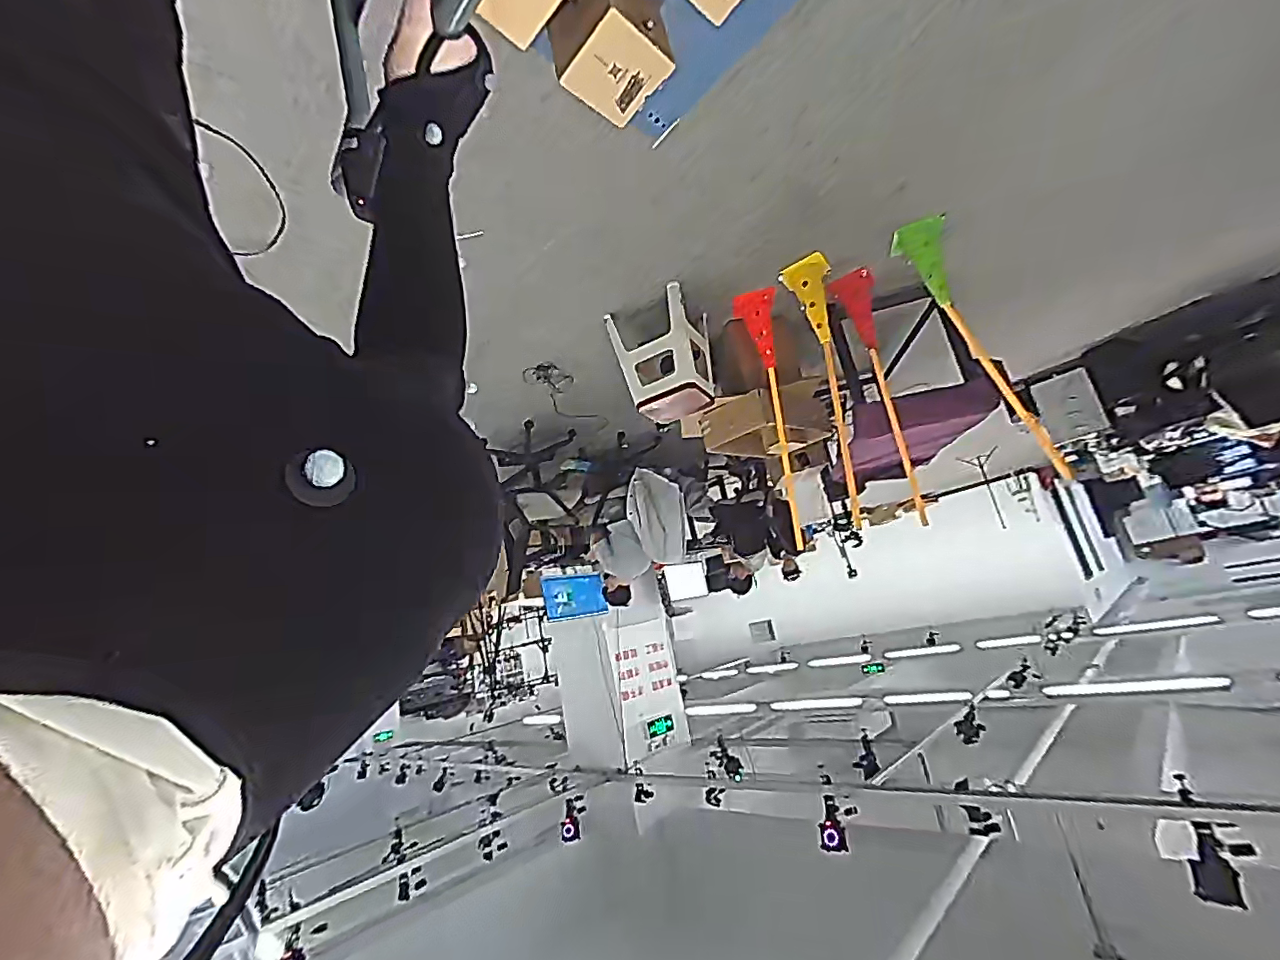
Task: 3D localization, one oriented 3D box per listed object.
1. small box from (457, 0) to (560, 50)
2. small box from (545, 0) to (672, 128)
[{"bbox_3d":[-0.228,-0.884,0.886,0.168,0.176,0.179,-24,160,37],"label":"small box"},{"bbox_3d":[-0.065,-0.864,1.072,0.179,0.176,0.168,5,156,-45],"label":"small box"}]
